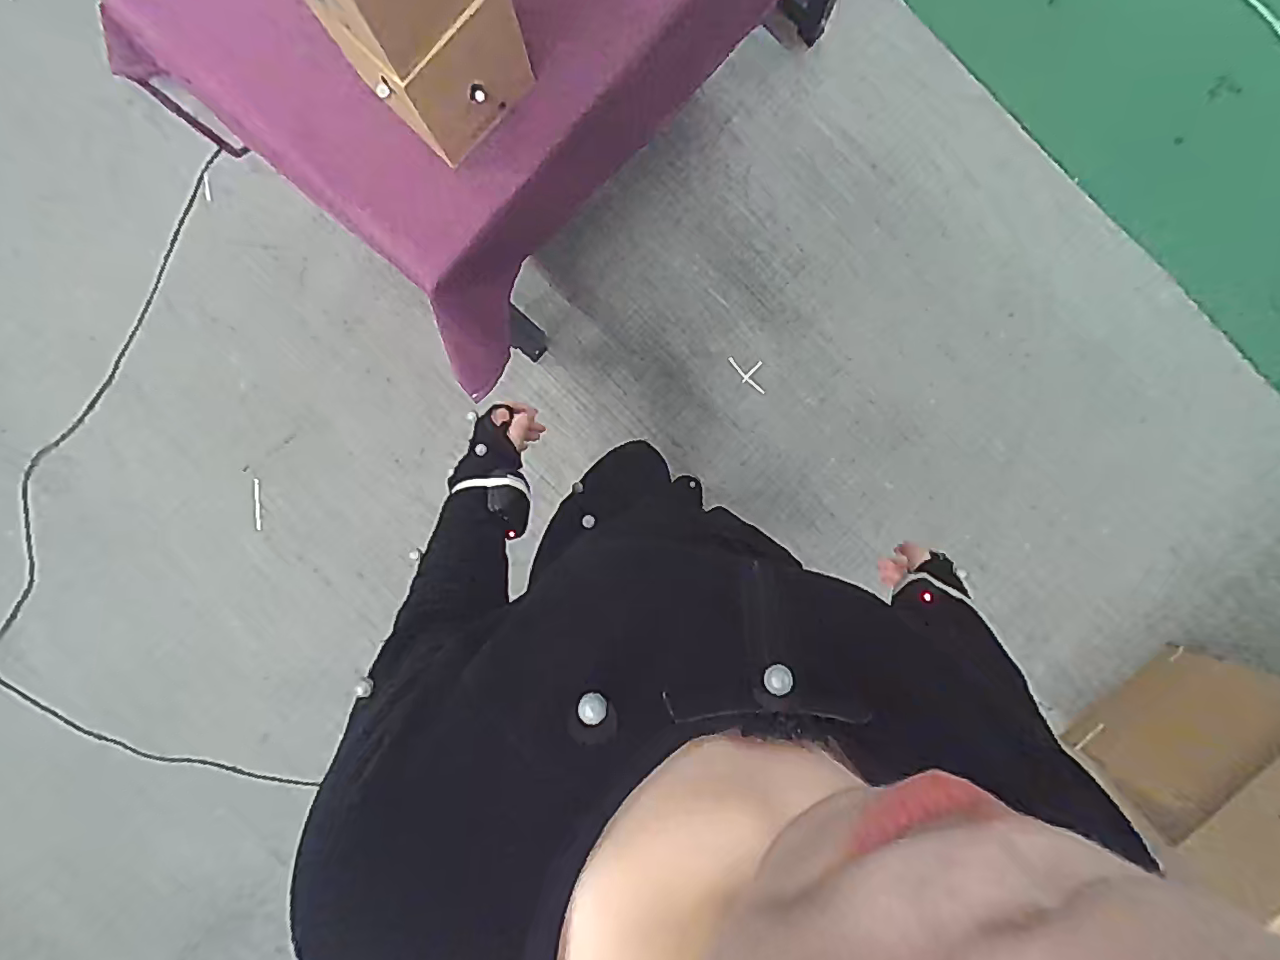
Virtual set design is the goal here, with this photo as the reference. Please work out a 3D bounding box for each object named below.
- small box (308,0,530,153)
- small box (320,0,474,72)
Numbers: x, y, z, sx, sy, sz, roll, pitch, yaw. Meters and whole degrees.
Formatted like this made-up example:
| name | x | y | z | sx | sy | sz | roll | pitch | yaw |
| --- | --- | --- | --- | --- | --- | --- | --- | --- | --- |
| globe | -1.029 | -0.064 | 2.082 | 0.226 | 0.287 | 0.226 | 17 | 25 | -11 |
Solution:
| name | x | y | z | sx | sy | sz | roll | pitch | yaw |
| --- | --- | --- | --- | --- | --- | --- | --- | --- | --- |
| small box | -0.260 | -0.546 | 0.664 | 0.179 | 0.176 | 0.168 | 45 | 92 | -1 |
| small box | -0.259 | -0.543 | 0.501 | 0.168 | 0.176 | 0.179 | 43 | 92 | -2 |
